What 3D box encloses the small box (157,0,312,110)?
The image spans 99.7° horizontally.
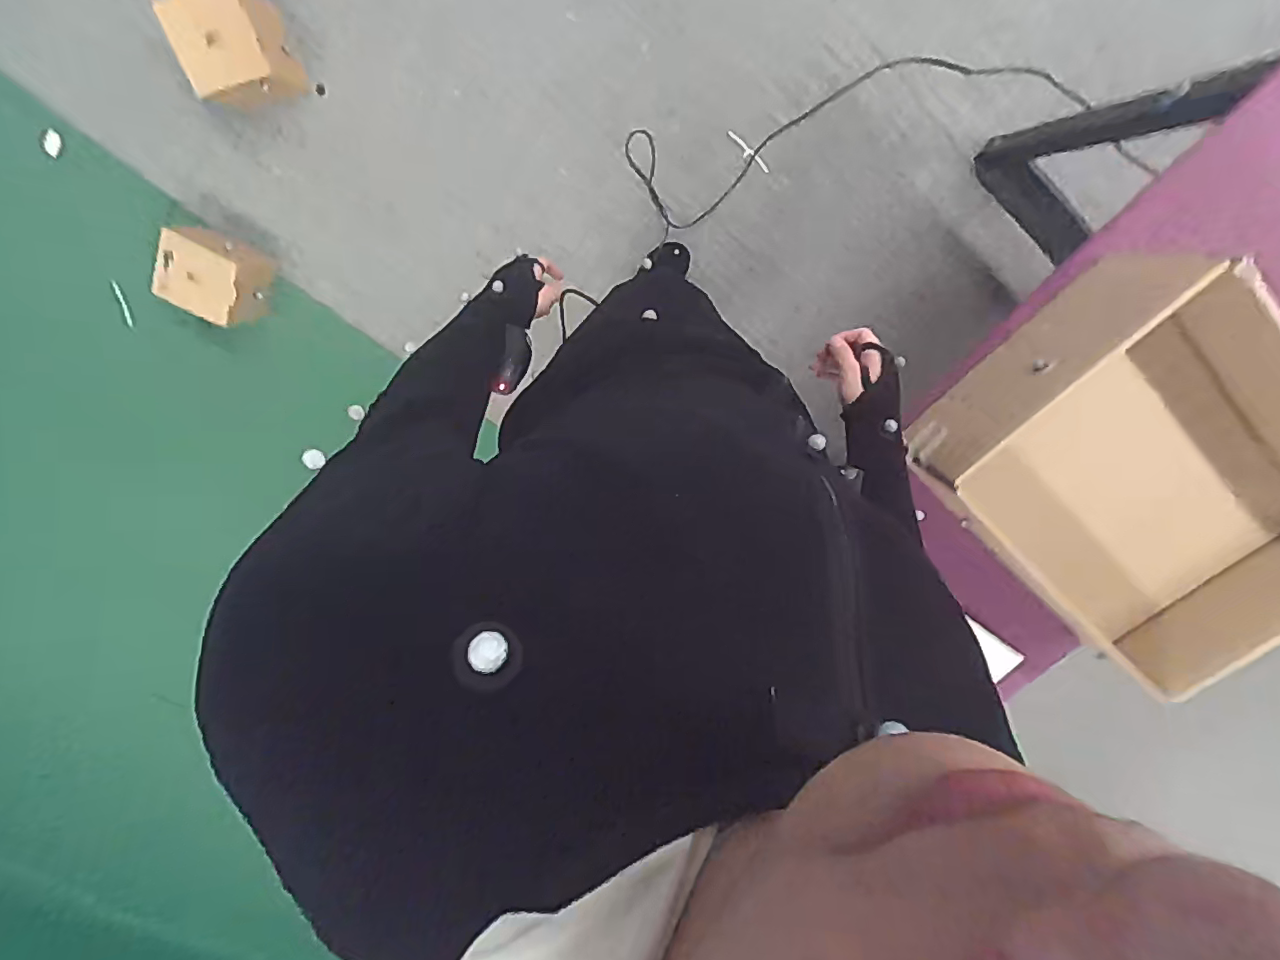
[{"bbox_3d":[-0.869,-0.938,1.179,0.179,0.176,0.168,-15,113,4],"label":"small box"}]

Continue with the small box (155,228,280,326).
[{"bbox_3d":[-1.054,-0.515,1.361,0.179,0.176,0.168,26,111,-12],"label":"small box"}]
